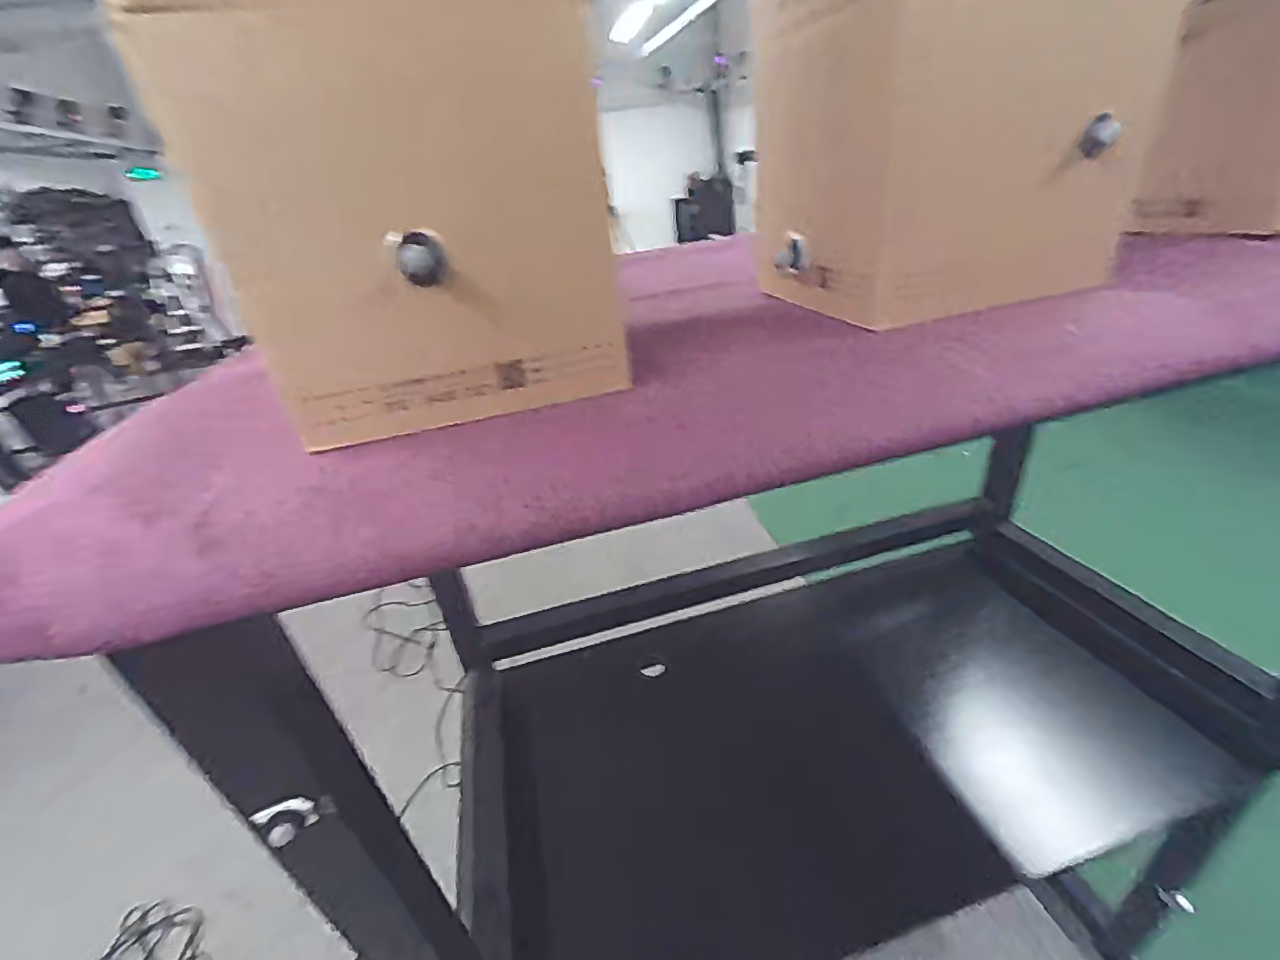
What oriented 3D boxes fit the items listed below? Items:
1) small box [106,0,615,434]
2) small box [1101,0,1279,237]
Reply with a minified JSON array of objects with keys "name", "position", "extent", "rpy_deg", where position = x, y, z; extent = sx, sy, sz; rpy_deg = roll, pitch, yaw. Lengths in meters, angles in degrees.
[{"name":"small box","position":[-0.117,-0.136,0.306],"extent":[0.168,0.176,0.179],"rpy_deg":[-13,30,-11]},{"name":"small box","position":[0.516,-0.304,0.449],"extent":[0.179,0.176,0.168],"rpy_deg":[-13,28,-9]}]
